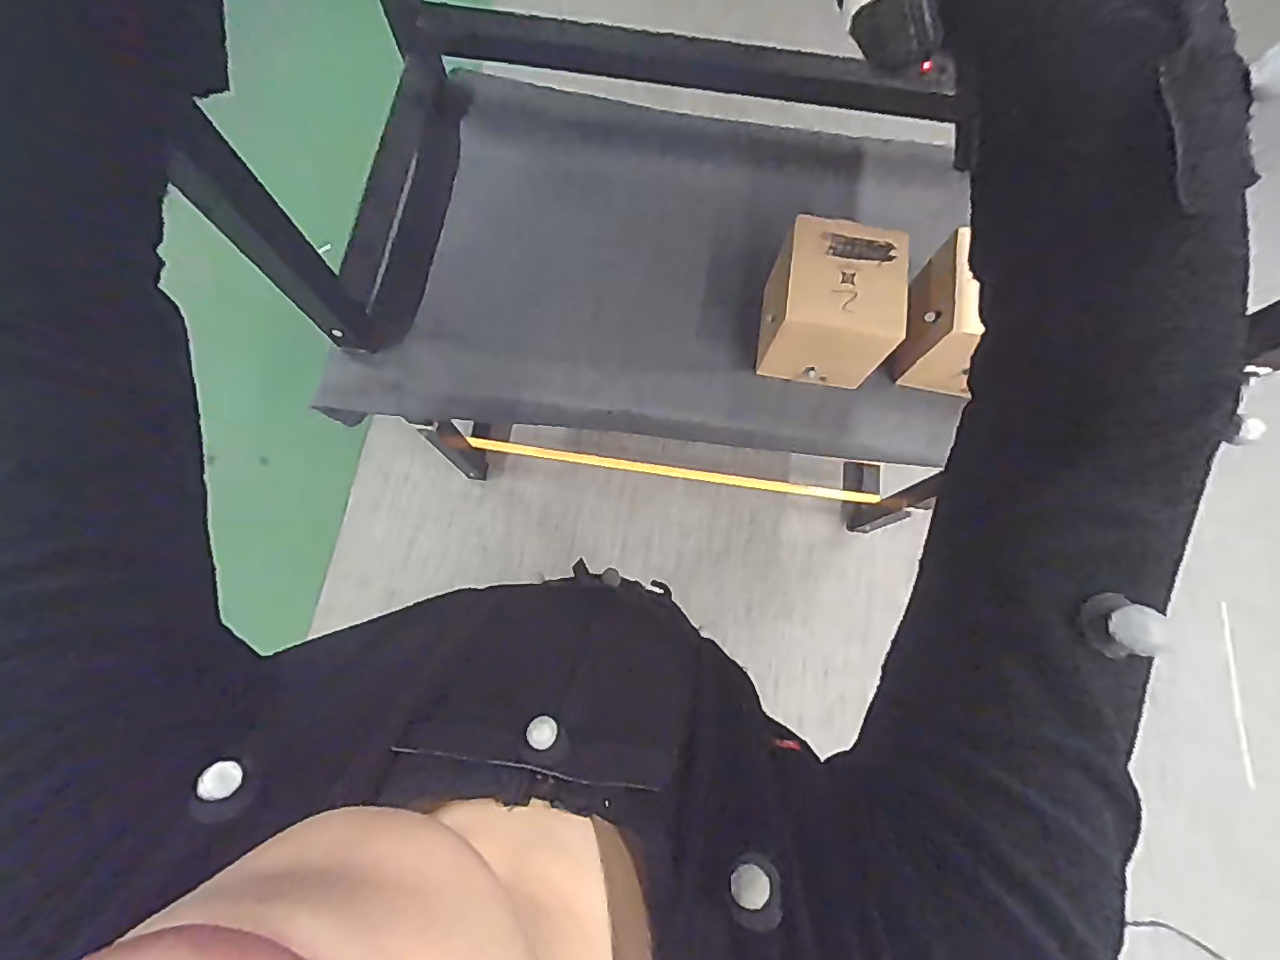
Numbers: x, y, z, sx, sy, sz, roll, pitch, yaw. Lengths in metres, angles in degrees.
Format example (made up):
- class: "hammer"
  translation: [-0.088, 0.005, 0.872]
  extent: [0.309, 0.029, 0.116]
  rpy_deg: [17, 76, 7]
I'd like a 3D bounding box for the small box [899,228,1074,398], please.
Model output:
- class: "small box"
  translation: [0.518, -0.245, 0.828]
  extent: [0.168, 0.176, 0.179]
  rpy_deg: [11, 74, 1]
